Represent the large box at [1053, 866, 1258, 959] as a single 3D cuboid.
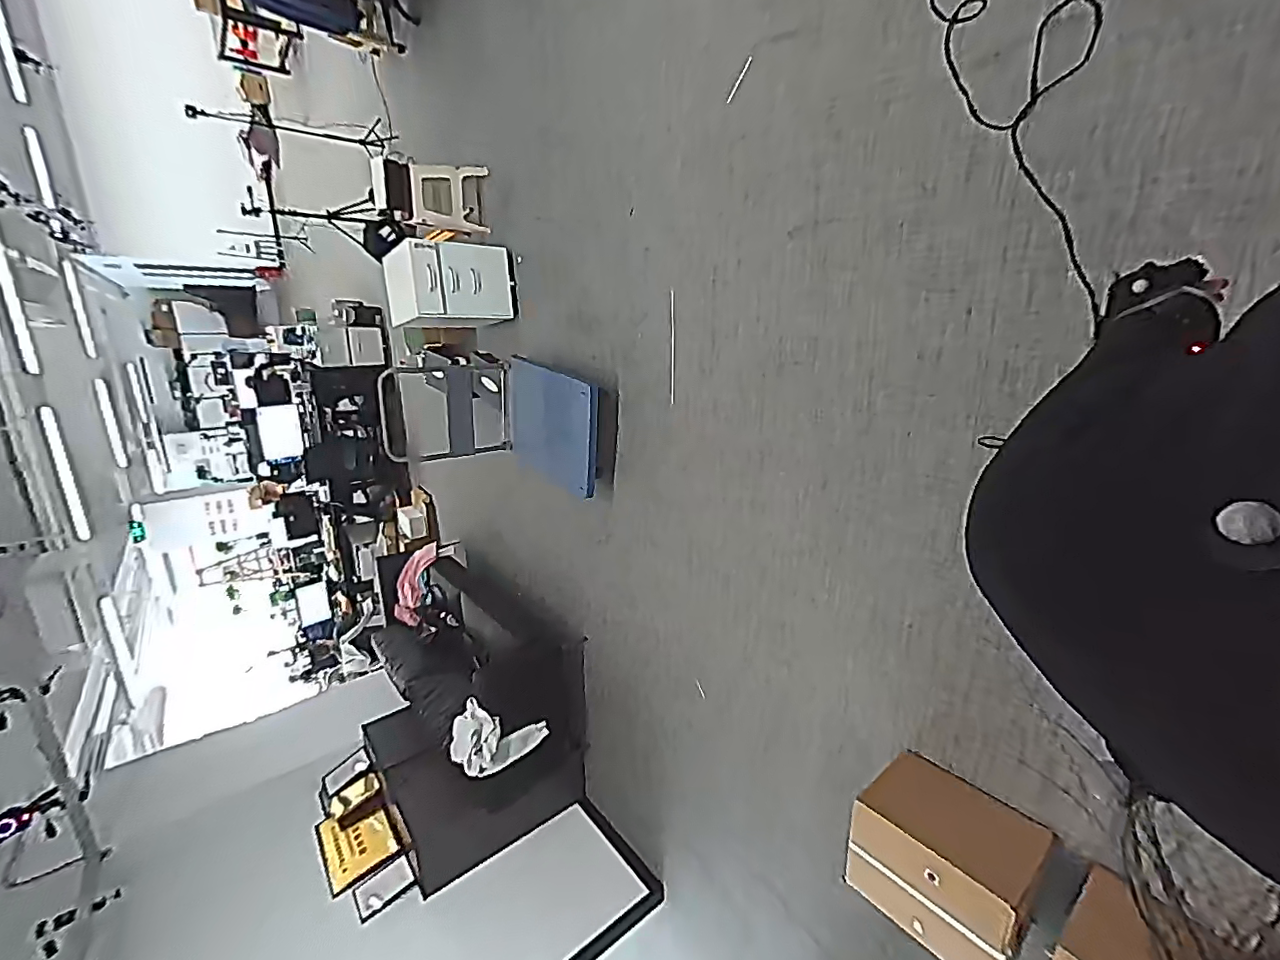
[{"bbox_3d":[1.151,1.177,1.169,0.408,0.320,0.320,20,115,46],"label":"large box"}]
